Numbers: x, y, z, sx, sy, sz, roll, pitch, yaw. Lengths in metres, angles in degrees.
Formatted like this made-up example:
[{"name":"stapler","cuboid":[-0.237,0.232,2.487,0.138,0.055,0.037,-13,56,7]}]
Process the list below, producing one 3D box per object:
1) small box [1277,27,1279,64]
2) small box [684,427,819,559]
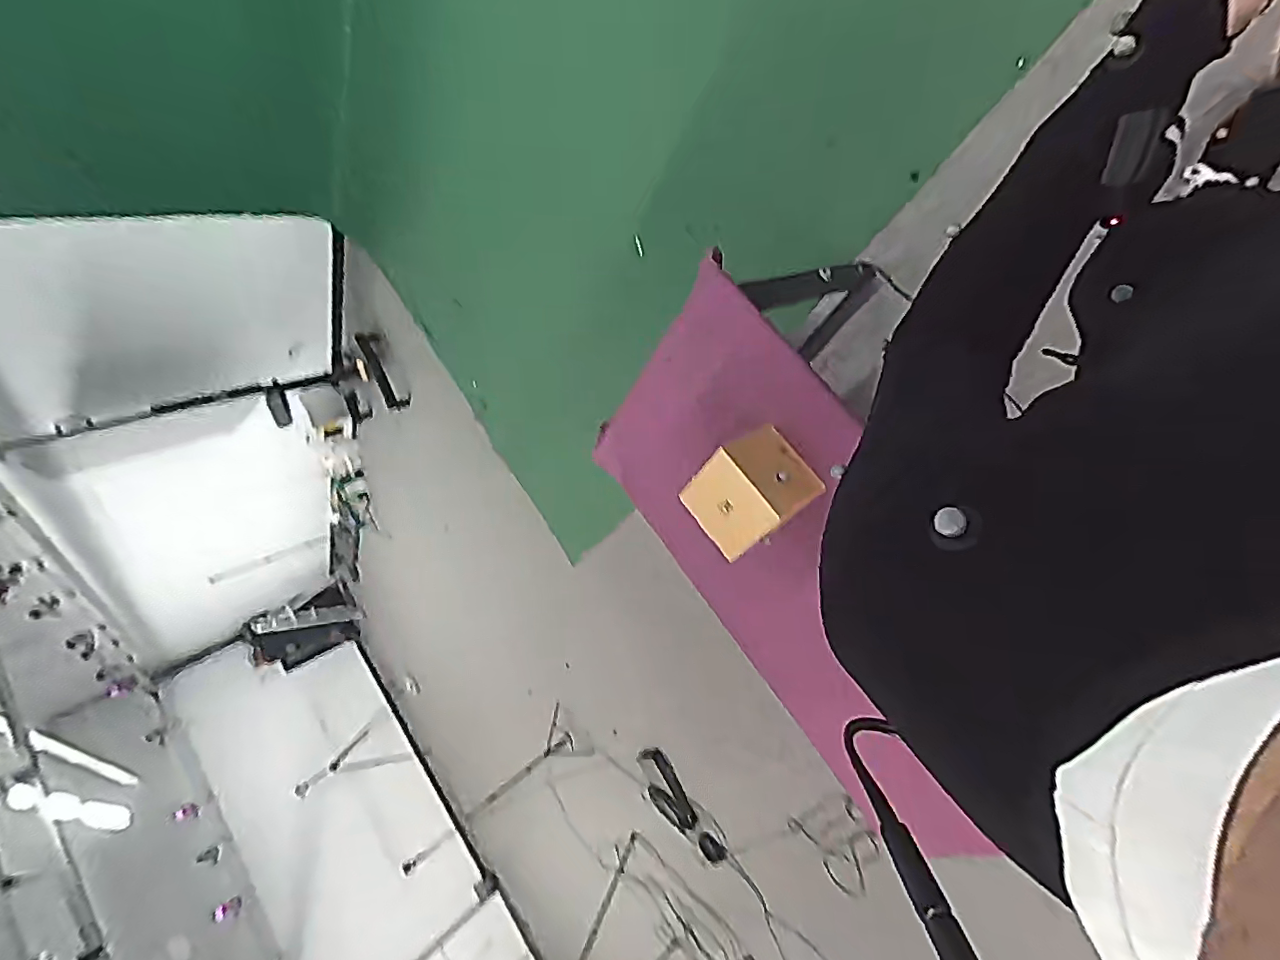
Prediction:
[{"name":"small box","cuboid":[0.587,-0.424,0.372,0.168,0.176,0.179,16,110,44]},{"name":"small box","cuboid":[0.226,0.021,1.069,0.168,0.176,0.179,52,140,14]}]
